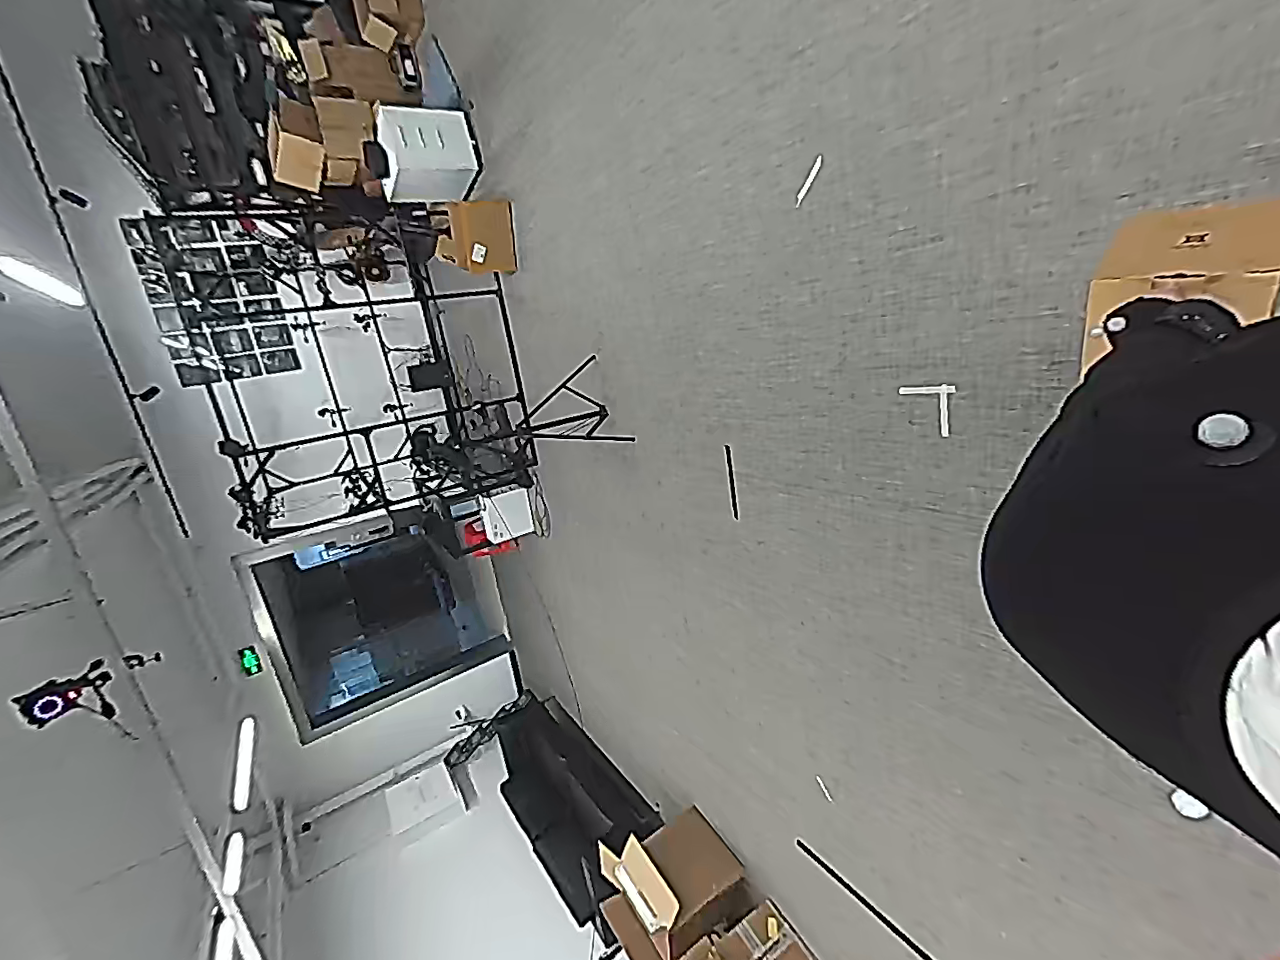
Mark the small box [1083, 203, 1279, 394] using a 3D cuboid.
[{"bbox_3d":[0.713,-0.233,0.714,0.168,0.179,0.176,18,146,45],"label":"small box"}]
